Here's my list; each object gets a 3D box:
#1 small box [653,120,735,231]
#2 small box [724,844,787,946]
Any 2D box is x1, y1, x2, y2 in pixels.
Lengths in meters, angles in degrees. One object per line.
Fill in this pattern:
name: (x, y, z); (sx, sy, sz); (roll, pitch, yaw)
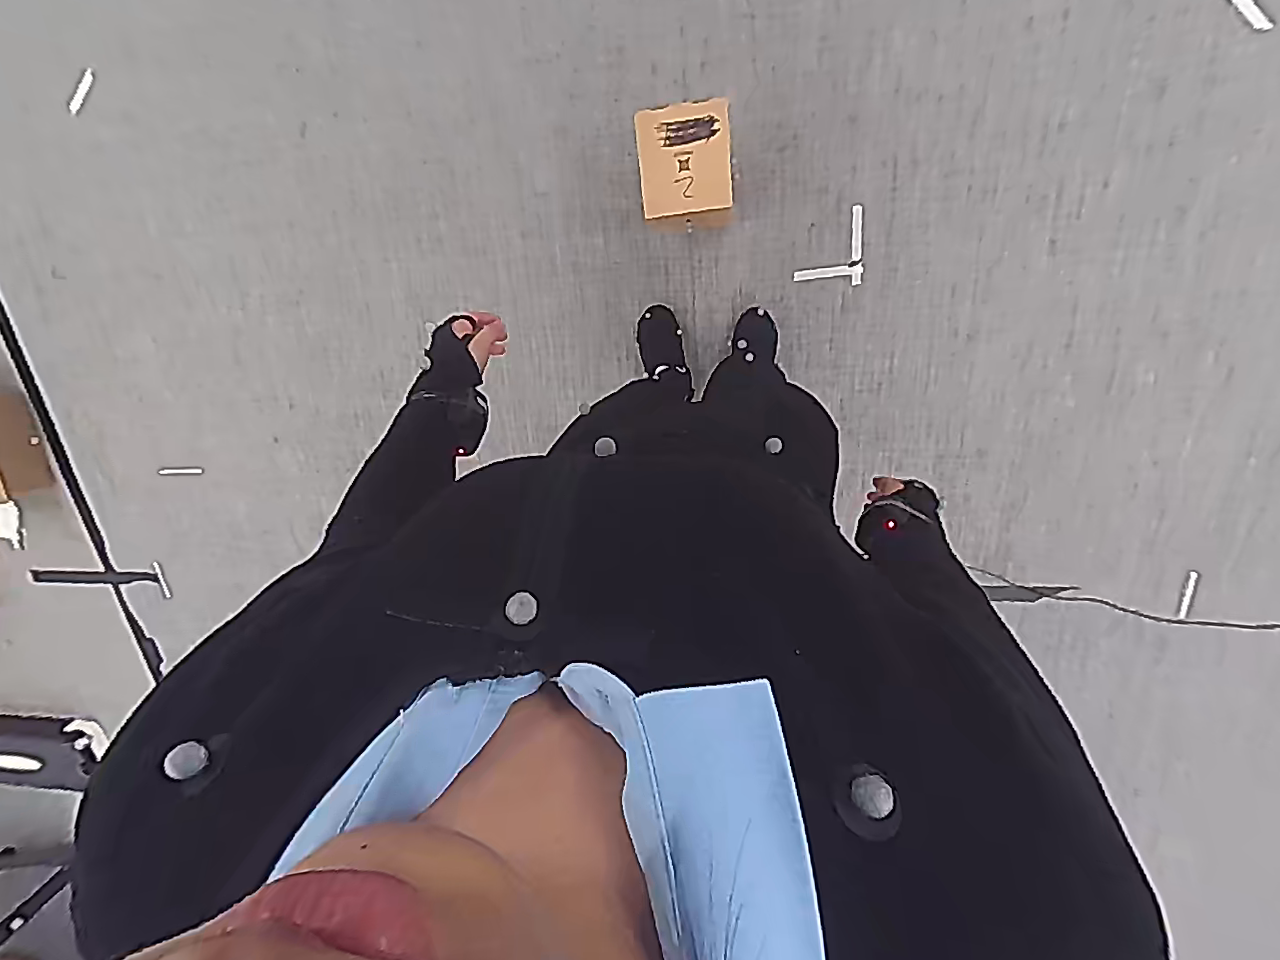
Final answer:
small box: (0.120, -0.662, 1.194); (0.168, 0.176, 0.179); (-3, 109, 8)
small box: (0.339, 1.233, 1.612); (0.168, 0.176, 0.179); (1, 108, 6)
